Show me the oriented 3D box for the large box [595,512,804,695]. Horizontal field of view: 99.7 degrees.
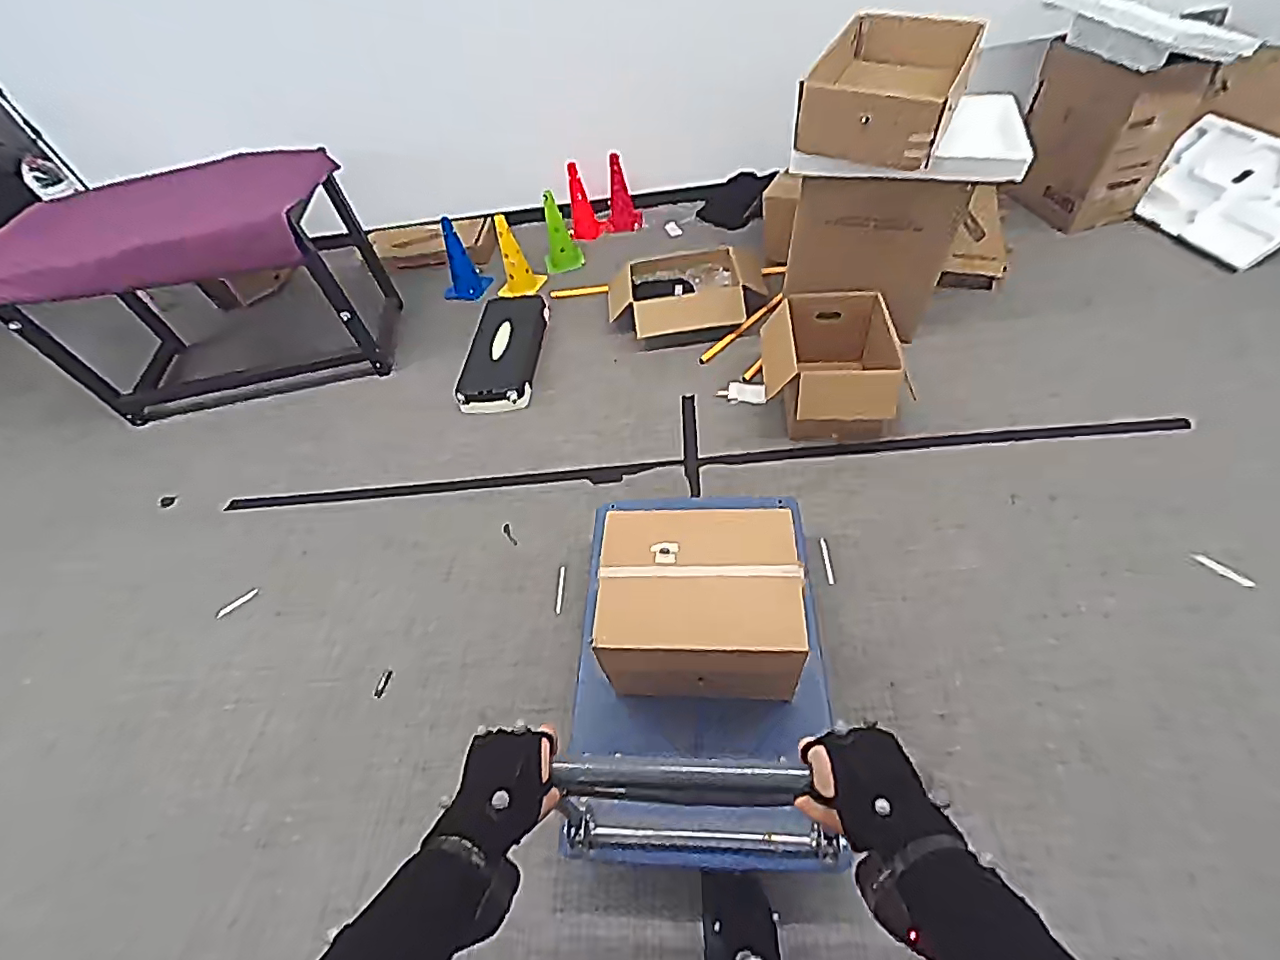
[{"bbox_3d":[0.135,0.292,1.232,0.408,0.320,0.320,-3,51,8],"label":"large box"}]
